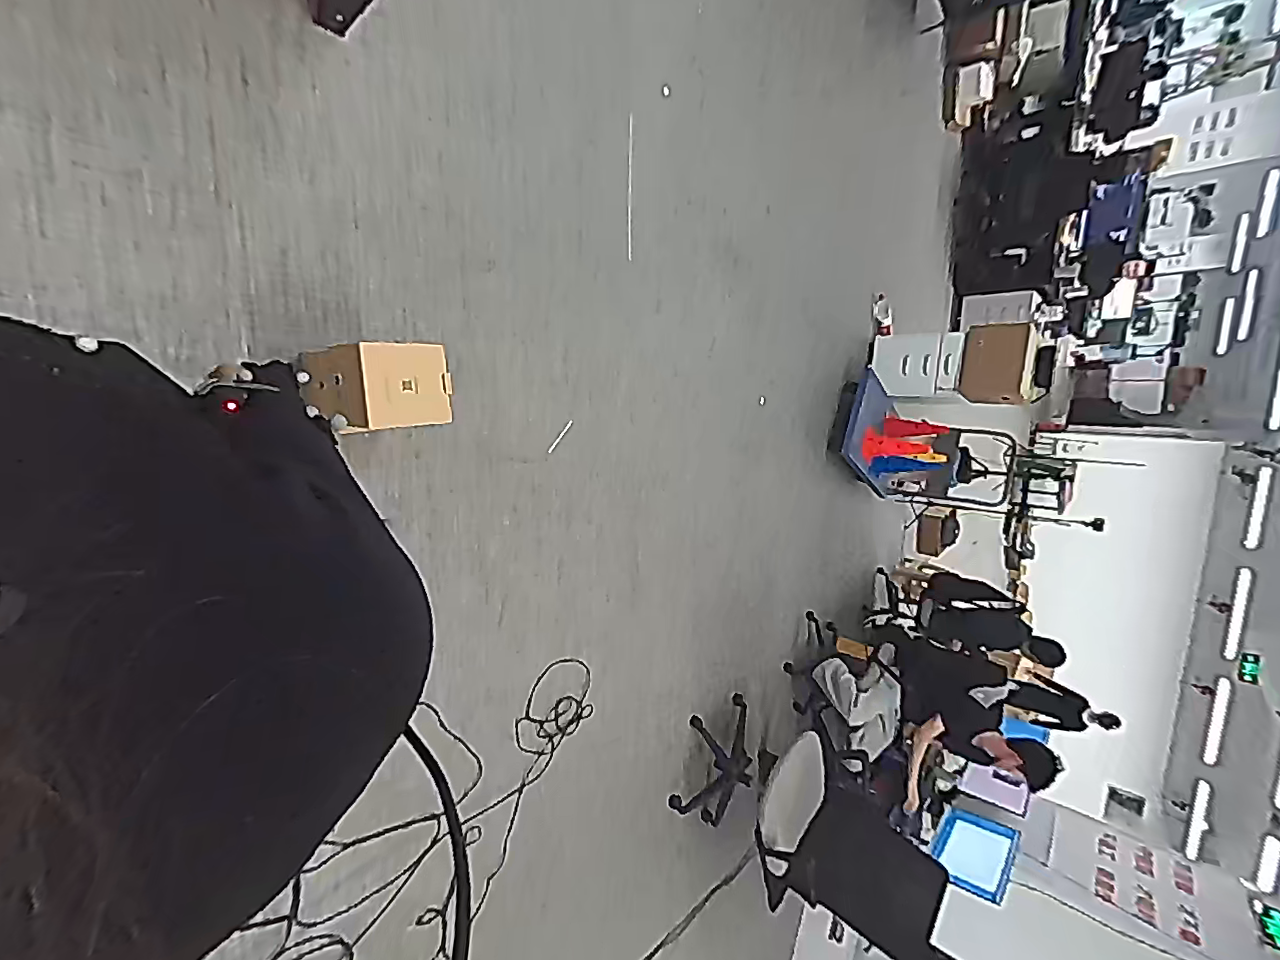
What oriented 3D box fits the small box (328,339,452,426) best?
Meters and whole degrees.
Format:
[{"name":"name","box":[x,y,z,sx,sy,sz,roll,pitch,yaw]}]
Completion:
[{"name":"small box","box":[-0.521,-0.205,1.131,0.179,0.176,0.168,-14,106,-46]}]

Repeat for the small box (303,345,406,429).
[{"name":"small box","box":[-0.647,-0.213,1.237,0.168,0.176,0.179,-14,106,-46]}]
